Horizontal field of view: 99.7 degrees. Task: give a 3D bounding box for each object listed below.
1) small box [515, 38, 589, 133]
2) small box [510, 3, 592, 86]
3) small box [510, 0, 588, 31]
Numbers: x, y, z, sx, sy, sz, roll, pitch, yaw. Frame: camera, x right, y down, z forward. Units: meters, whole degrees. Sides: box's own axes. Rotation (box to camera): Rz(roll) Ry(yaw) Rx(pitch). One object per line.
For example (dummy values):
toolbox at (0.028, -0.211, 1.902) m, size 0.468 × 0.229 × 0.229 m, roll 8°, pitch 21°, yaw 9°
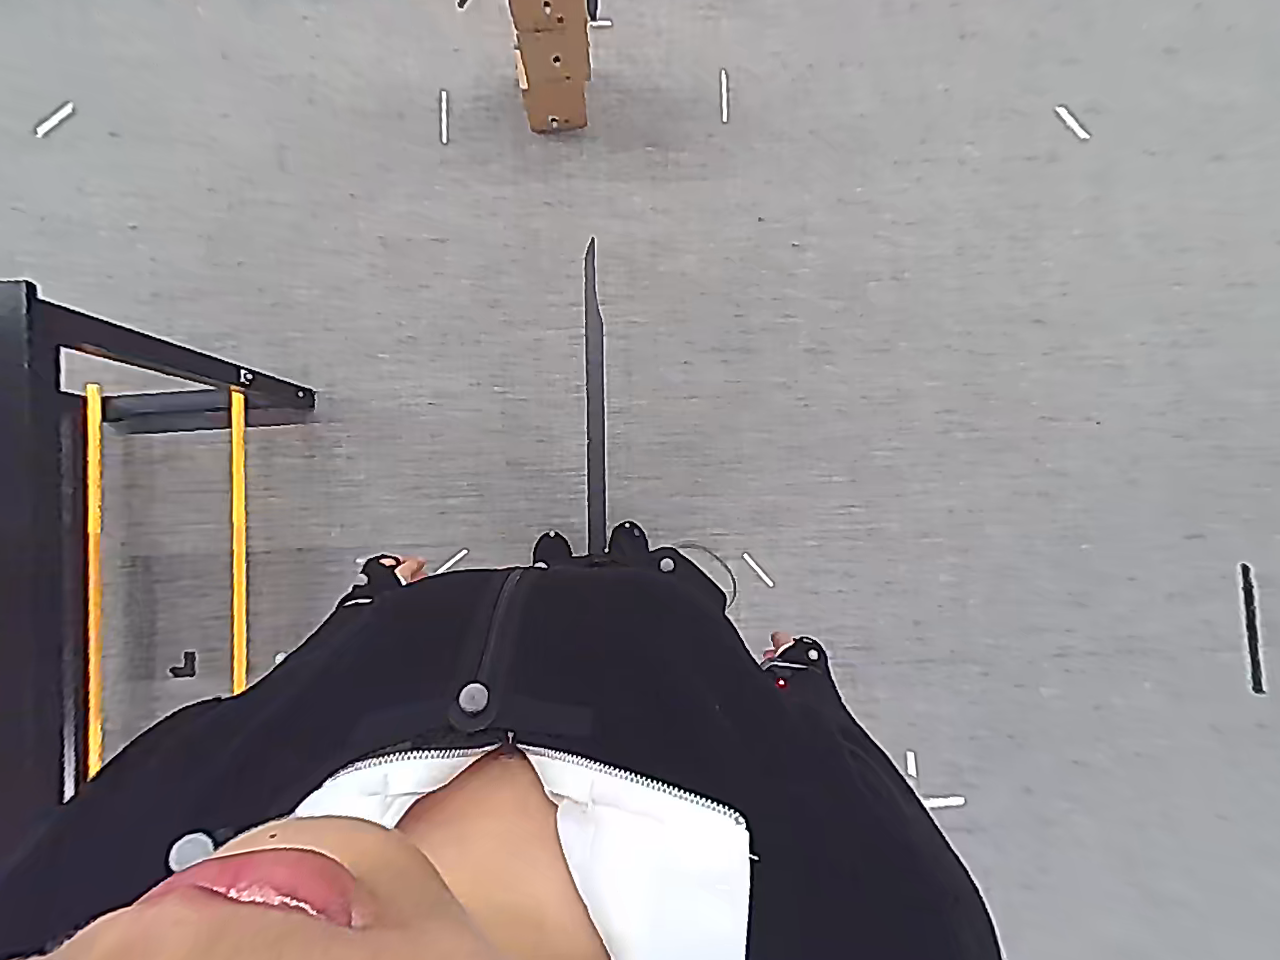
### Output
small box at (-0.233, -1.083, 1.461) m, size 0.168 × 0.176 × 0.179 m, roll -8°, pitch 89°, yaw 0°
small box at (-0.212, -1.088, 1.298) m, size 0.168 × 0.176 × 0.179 m, roll -9°, pitch 89°, yaw -1°
small box at (-0.201, -1.099, 1.133) m, size 0.168 × 0.176 × 0.179 m, roll -4°, pitch 88°, yaw 0°
